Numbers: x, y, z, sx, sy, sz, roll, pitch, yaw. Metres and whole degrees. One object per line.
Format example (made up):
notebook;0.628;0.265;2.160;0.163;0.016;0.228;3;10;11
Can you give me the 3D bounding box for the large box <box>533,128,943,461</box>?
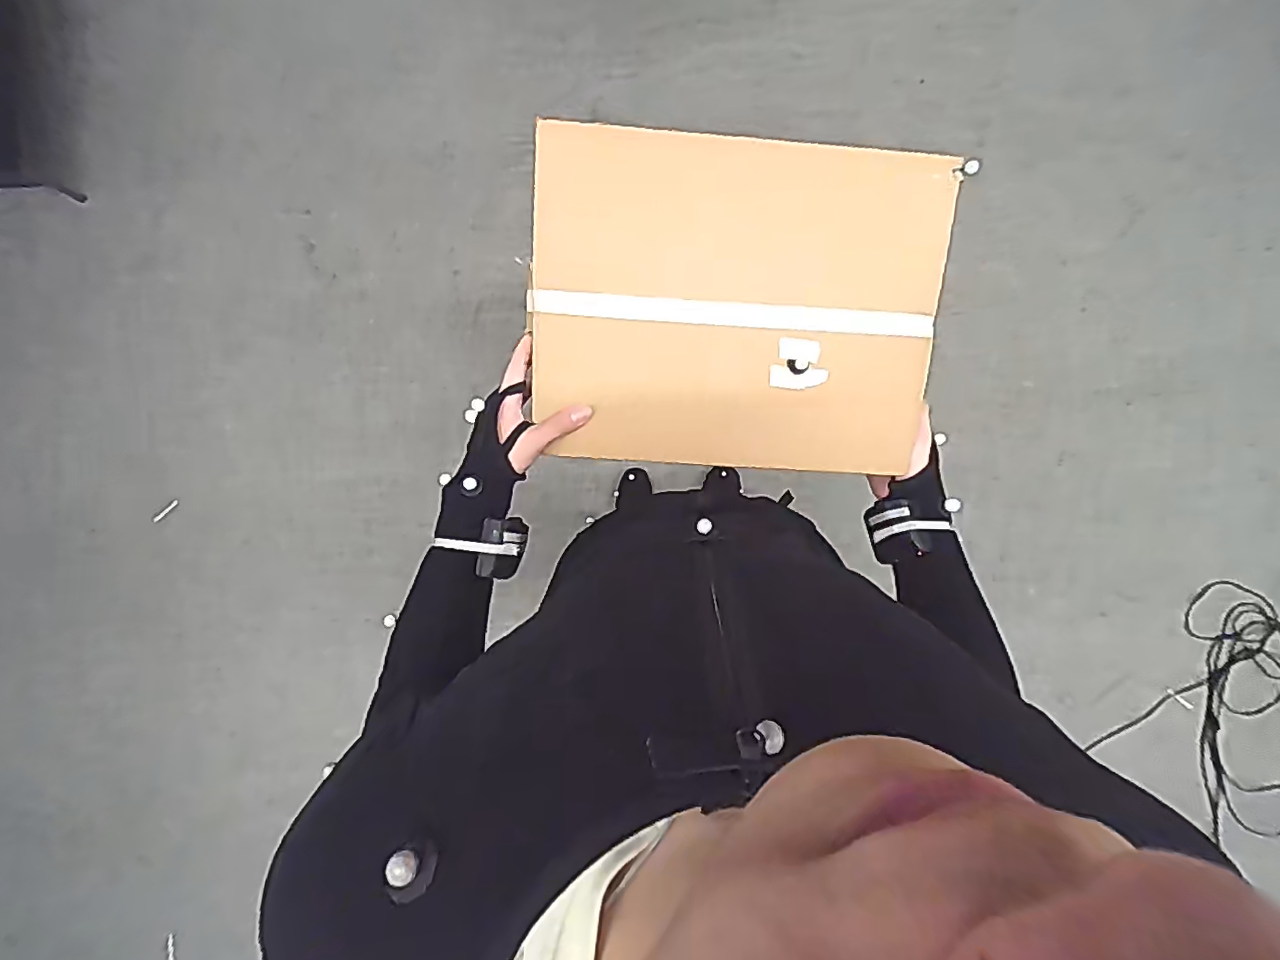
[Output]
large box;0.084;-0.208;0.692;0.408;0.320;0.320;2;104;-4
